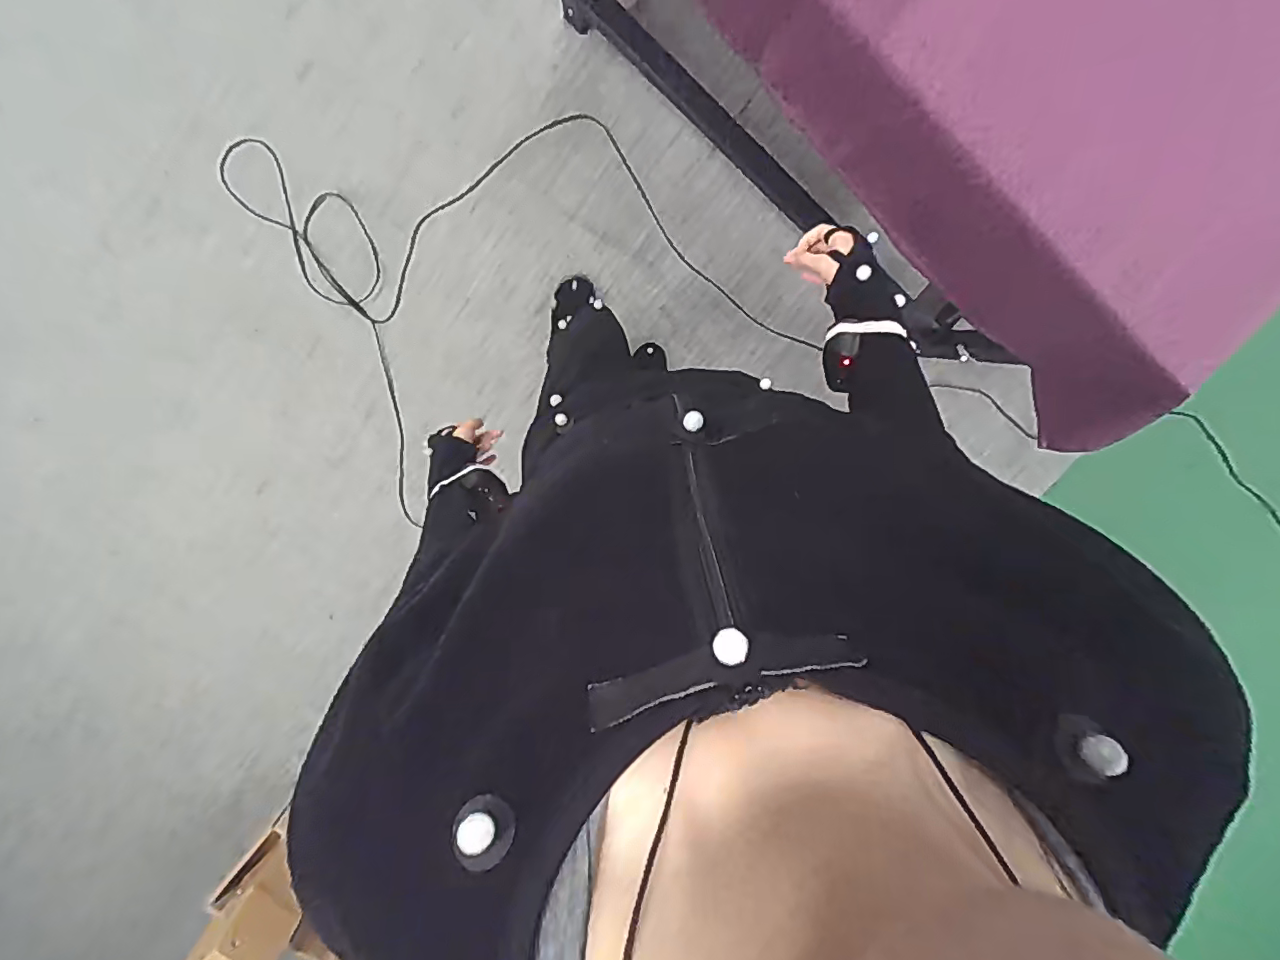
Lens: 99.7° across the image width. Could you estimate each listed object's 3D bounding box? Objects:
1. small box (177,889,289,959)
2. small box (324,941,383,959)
[{"bbox_3d":[-1.132,1.294,1.501,0.168,0.176,0.179,-38,104,6],"label":"small box"},{"bbox_3d":[-0.880,1.509,1.570,0.168,0.176,0.179,36,100,-13],"label":"small box"}]
